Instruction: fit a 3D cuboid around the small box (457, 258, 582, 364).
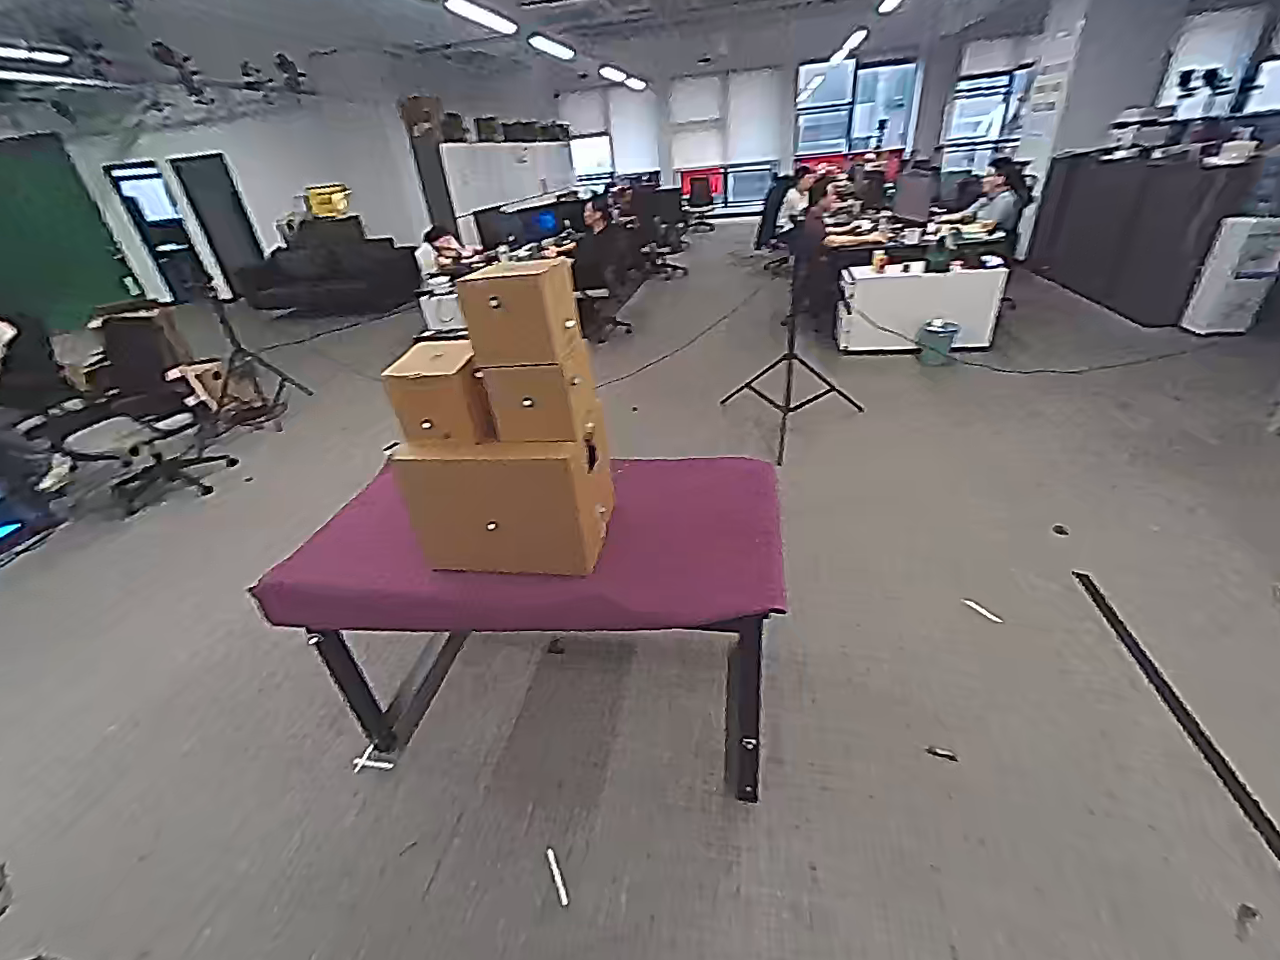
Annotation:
[{"bbox_3d":[-0.230,-0.335,1.079,0.179,0.176,0.168,0,31,12],"label":"small box"}]
